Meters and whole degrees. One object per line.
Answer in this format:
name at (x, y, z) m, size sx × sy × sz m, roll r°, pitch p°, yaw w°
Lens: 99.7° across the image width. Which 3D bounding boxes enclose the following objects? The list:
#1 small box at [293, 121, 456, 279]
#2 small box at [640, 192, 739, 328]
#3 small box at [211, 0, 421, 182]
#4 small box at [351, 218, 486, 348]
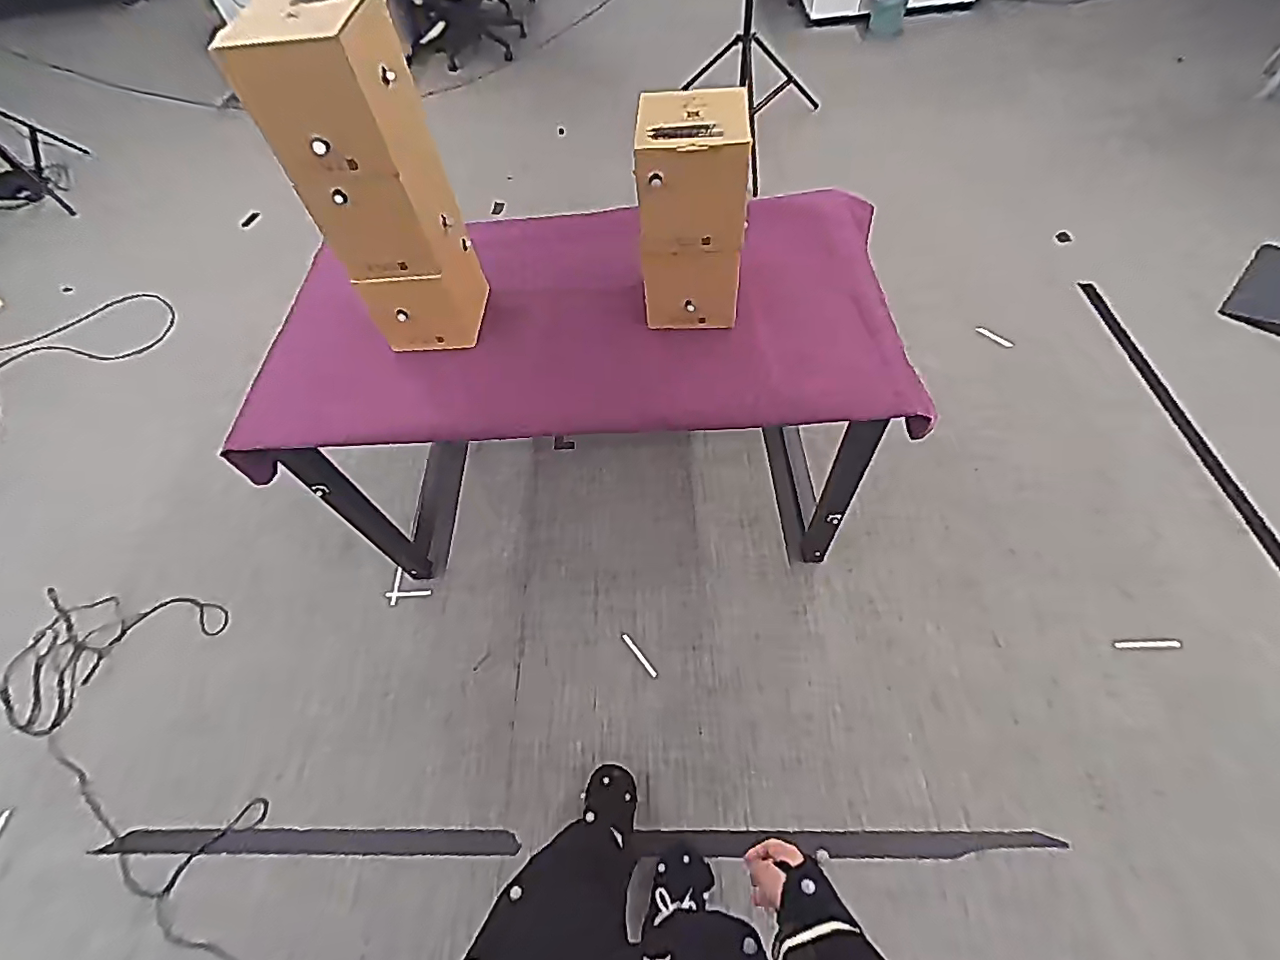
small box at (-0.420, -0.459, 0.895) m, size 0.168 × 0.176 × 0.179 m, roll -3°, pitch 57°, yaw 4°
small box at (0.094, -0.406, 1.006) m, size 0.168 × 0.176 × 0.179 m, roll 1°, pitch 58°, yaw 7°
small box at (-0.429, -0.546, 0.755) m, size 0.168 × 0.176 × 0.179 m, roll -2°, pitch 58°, yaw 4°
small box at (-0.407, -0.366, 1.029) m, size 0.168 × 0.176 × 0.179 m, roll -2°, pitch 57°, yaw 4°
